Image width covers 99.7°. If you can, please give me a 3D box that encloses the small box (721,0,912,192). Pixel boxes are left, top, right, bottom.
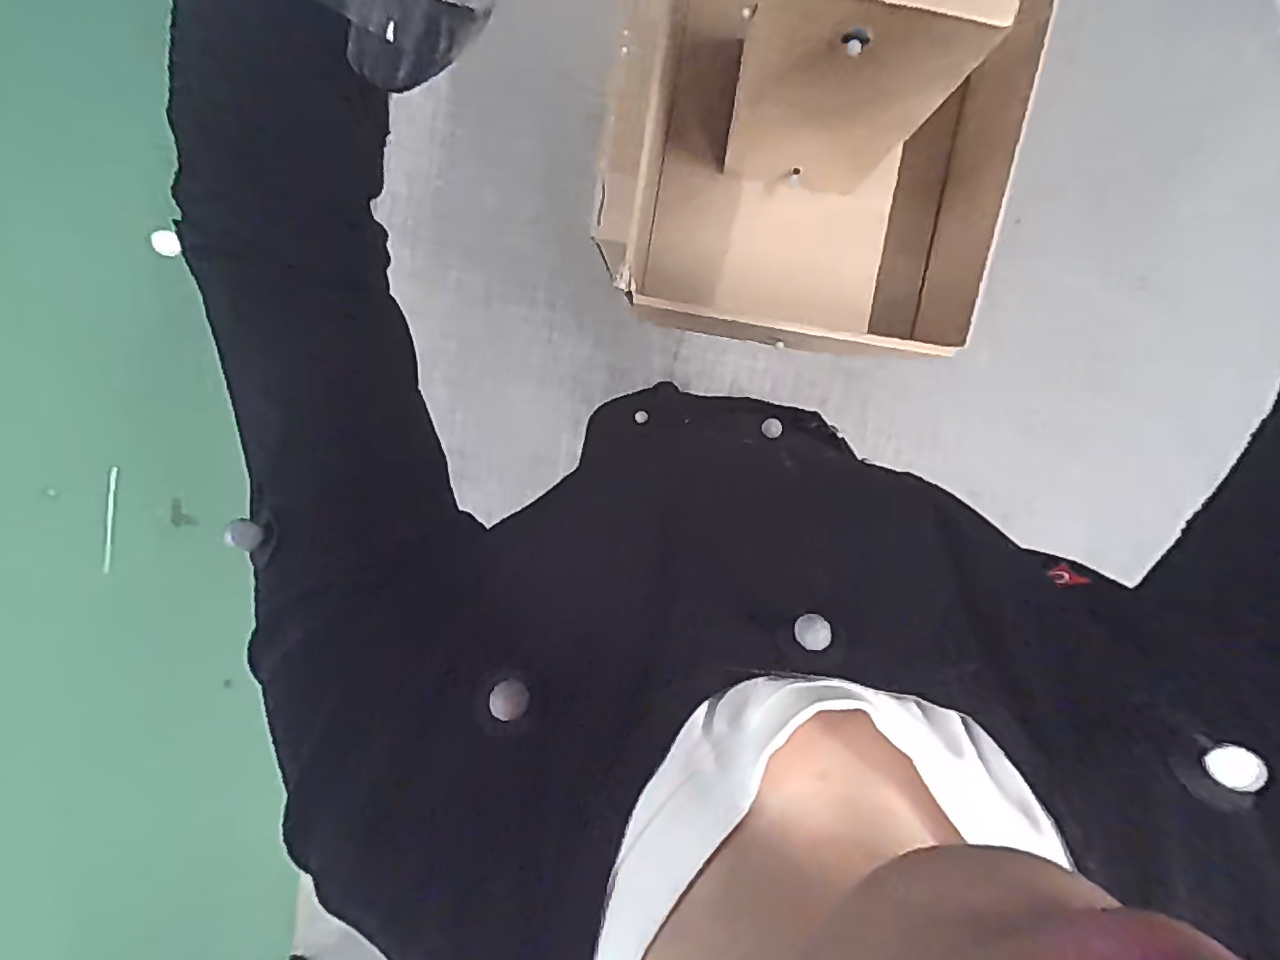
[{"bbox_3d":[0.202,-0.454,0.617,0.179,0.176,0.168,10,96,-1],"label":"small box"}]

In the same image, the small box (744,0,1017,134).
[{"bbox_3d":[0.198,-0.429,0.454,0.179,0.176,0.168,12,98,-1],"label":"small box"}]
